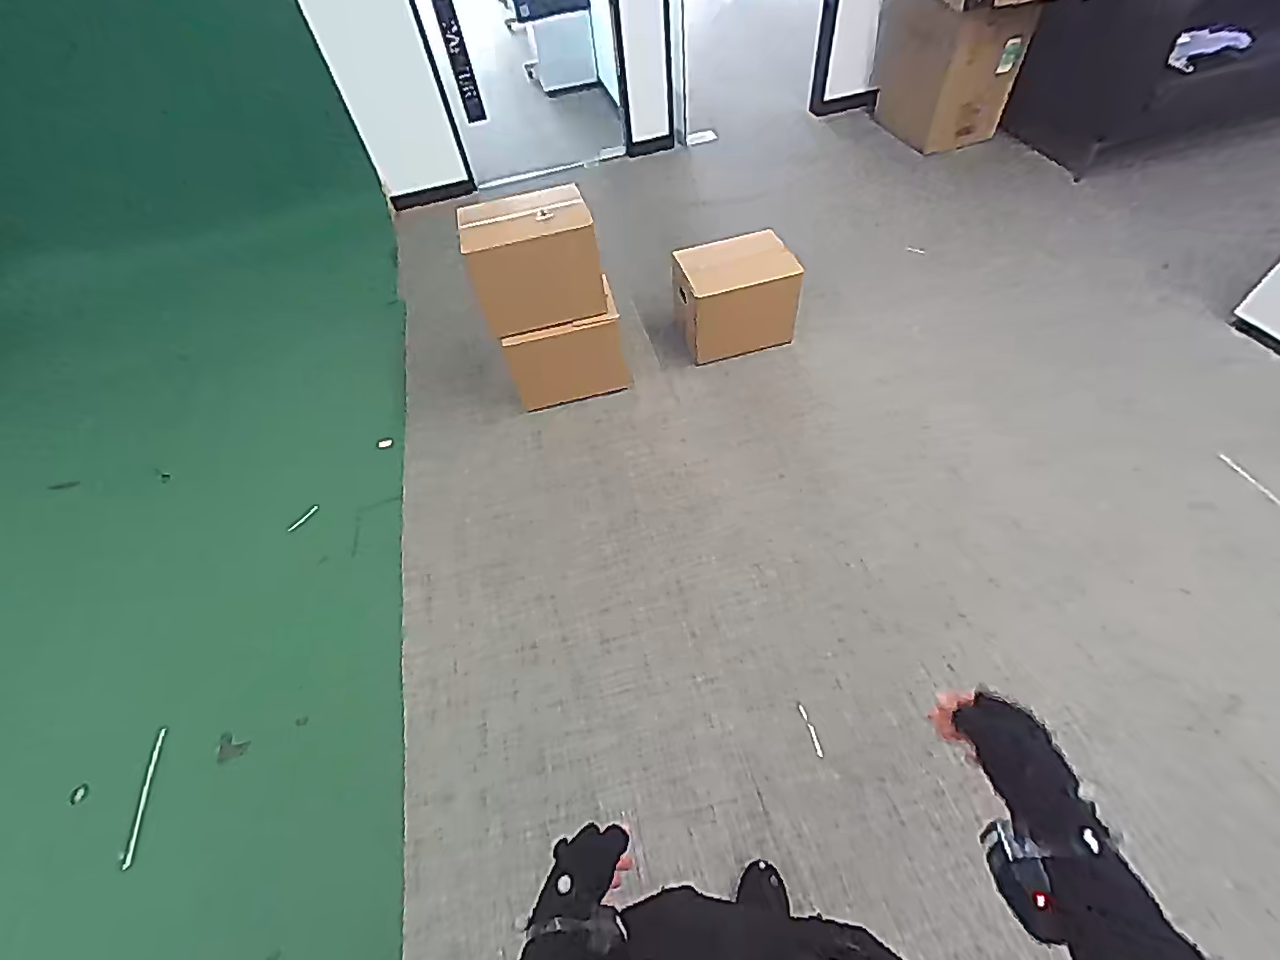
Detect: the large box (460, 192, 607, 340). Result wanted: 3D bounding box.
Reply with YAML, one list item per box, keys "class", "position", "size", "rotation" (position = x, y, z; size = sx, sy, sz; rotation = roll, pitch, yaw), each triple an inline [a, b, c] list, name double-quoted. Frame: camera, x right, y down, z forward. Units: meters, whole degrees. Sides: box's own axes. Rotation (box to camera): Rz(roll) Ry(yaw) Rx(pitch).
- class: "large box"
  position: [-0.352, -0.717, 1.813]
  size: [0.408, 0.320, 0.320]
  rotation: [-14, 50, -5]
